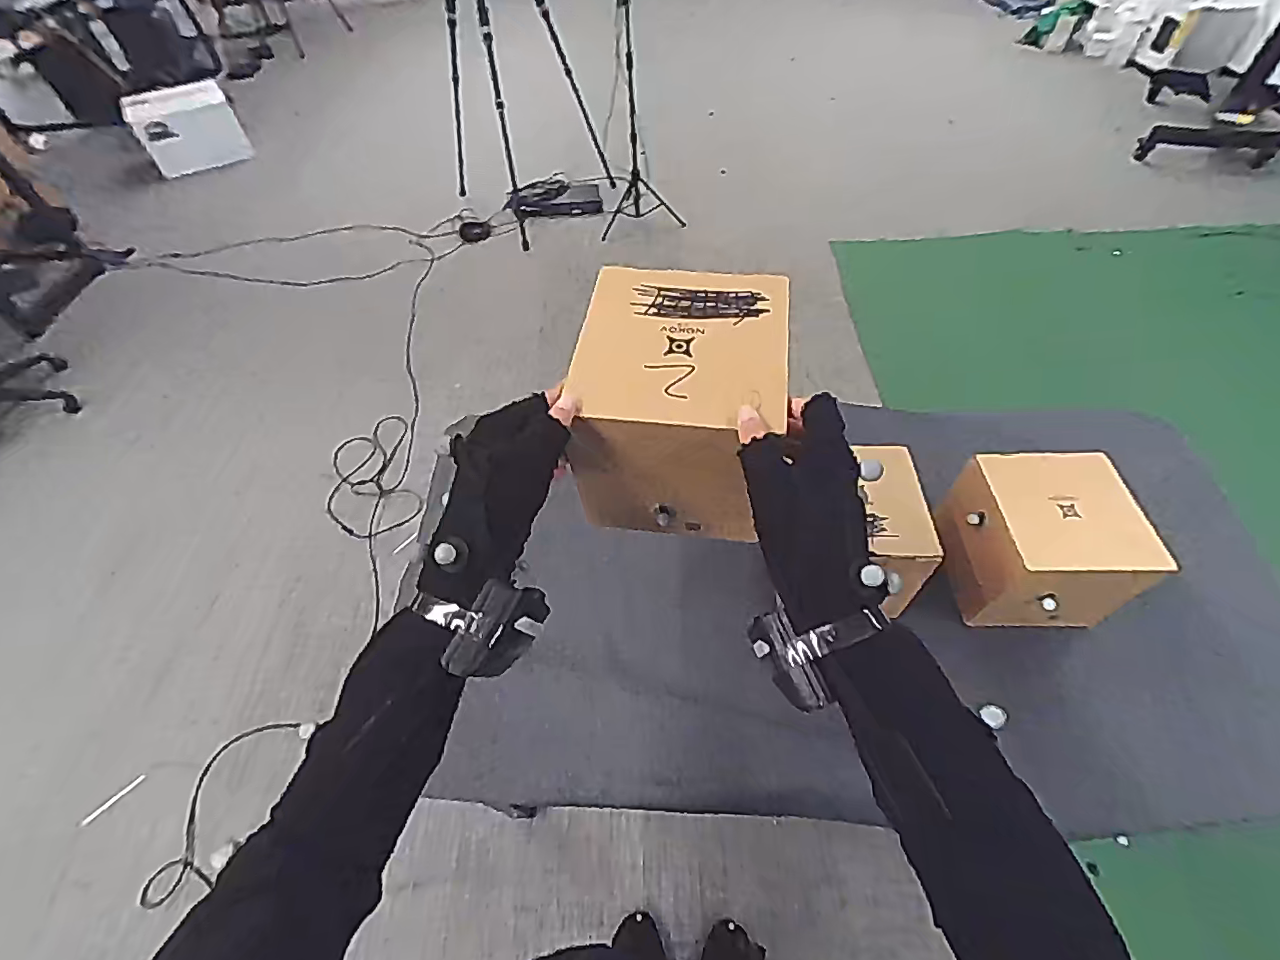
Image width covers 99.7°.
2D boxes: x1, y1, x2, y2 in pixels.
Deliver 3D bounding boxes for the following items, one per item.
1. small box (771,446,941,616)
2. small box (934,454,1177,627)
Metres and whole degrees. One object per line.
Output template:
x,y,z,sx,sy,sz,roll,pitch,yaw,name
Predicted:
0.278,0.073,0.741,0.168,0.176,0.179,1,52,5,small box
0.524,0.085,0.717,0.168,0.176,0.179,-1,52,3,small box
